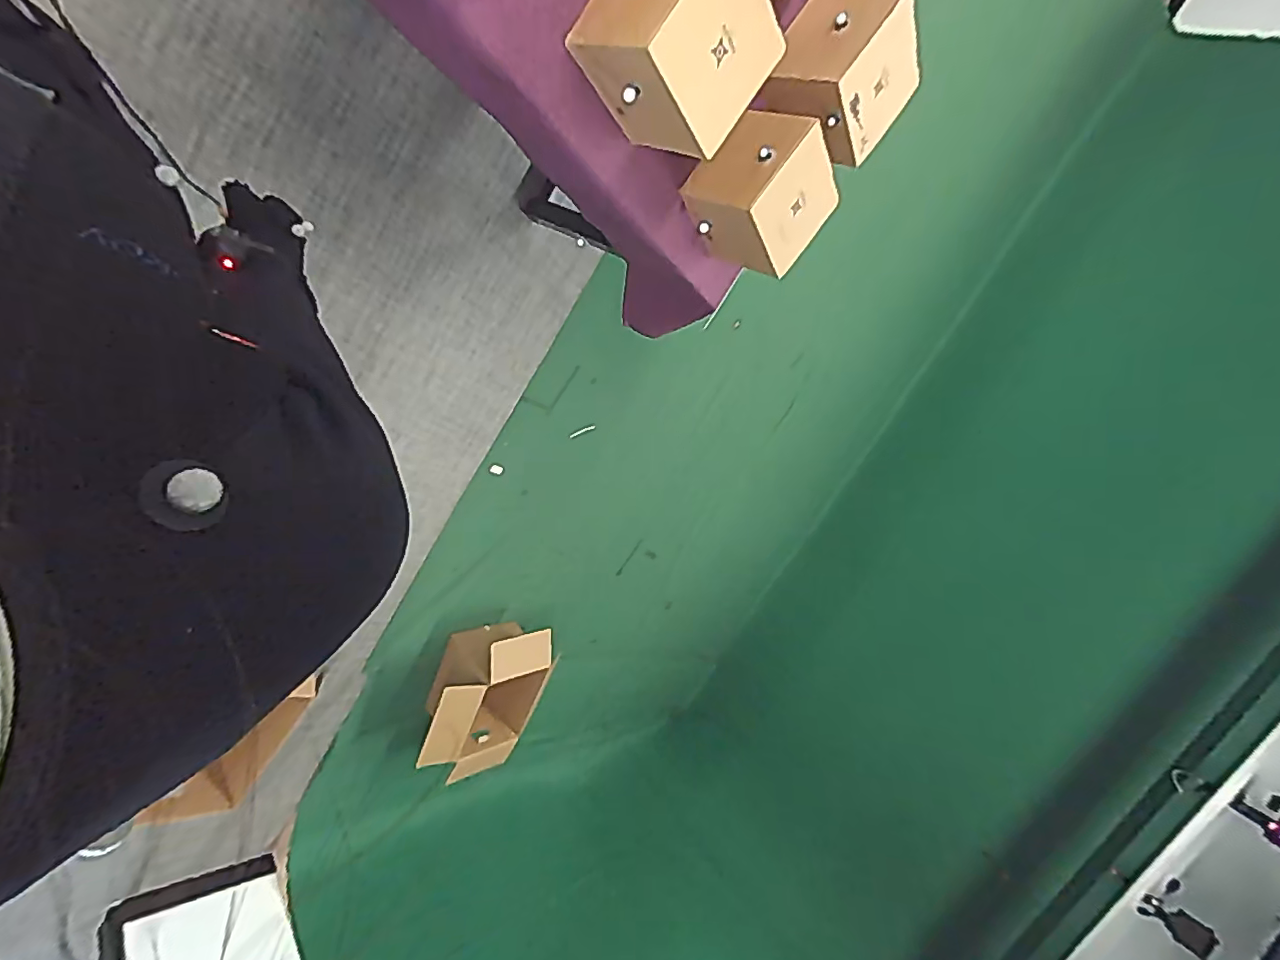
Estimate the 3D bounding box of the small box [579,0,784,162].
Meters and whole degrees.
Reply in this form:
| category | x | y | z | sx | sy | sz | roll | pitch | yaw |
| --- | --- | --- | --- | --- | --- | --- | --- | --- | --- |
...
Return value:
| category | x | y | z | sx | sy | sz | roll | pitch | yaw |
| --- | --- | --- | --- | --- | --- | --- | --- | --- | --- |
| small box | 0.047 | -0.554 | 0.695 | 0.179 | 0.176 | 0.168 | -54 | 144 | 5 |

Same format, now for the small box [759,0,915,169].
| category | x | y | z | sx | sy | sz | roll | pitch | yaw |
| --- | --- | --- | --- | --- | --- | --- | --- | --- | --- |
| small box | 0.328 | -0.667 | 0.906 | 0.179 | 0.176 | 0.168 | -54 | 144 | 2 |
